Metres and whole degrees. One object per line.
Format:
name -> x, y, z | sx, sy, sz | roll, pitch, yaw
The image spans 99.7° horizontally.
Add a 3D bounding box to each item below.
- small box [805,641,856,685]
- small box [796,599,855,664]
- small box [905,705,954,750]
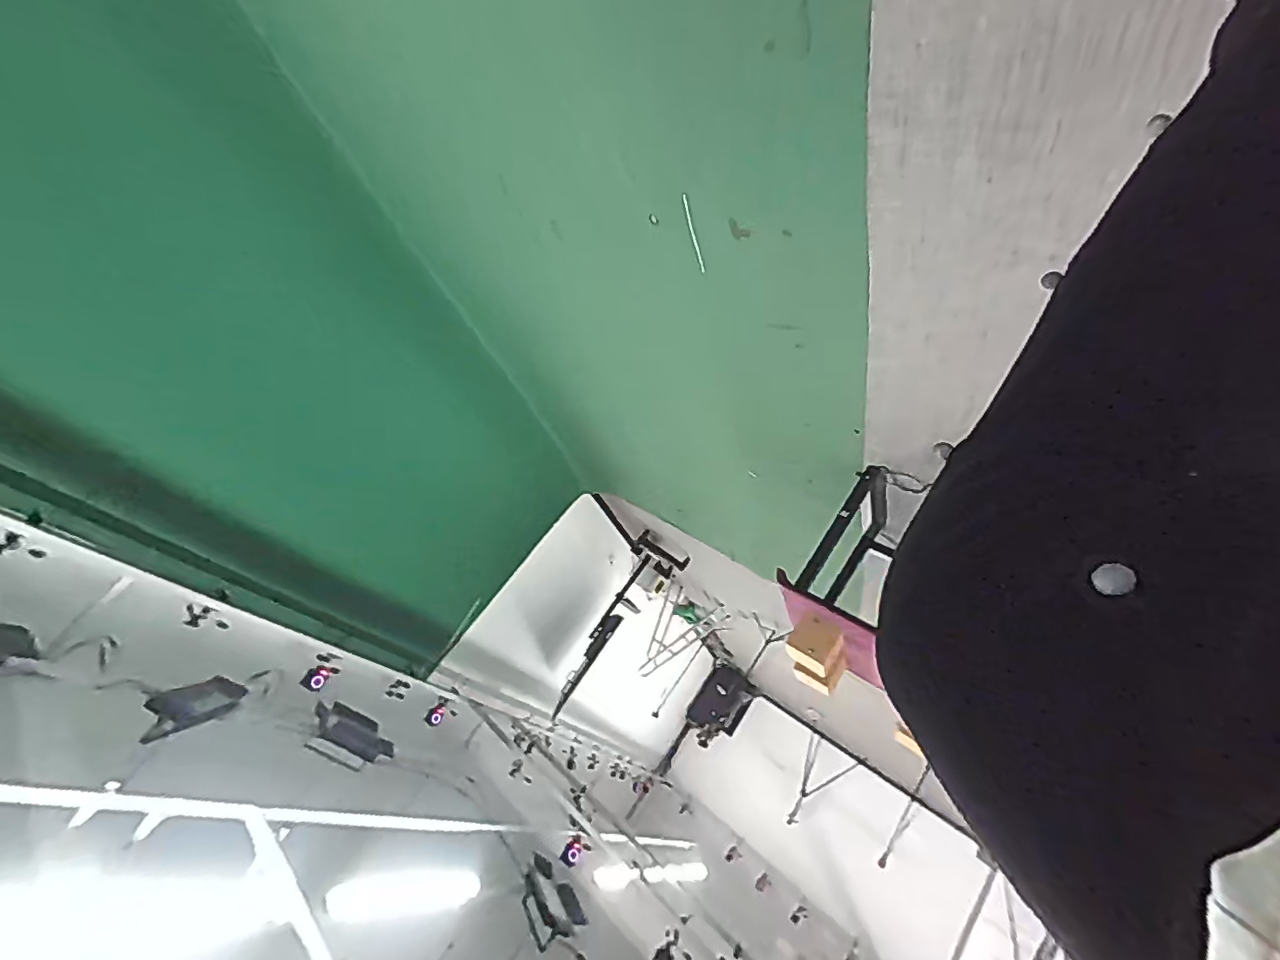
small box -> 0.877, 0.804, 2.474 | 0.168, 0.176, 0.179 | 24, 158, 35
small box -> 0.759, 0.614, 2.198 | 0.168, 0.176, 0.179 | 26, 161, 34
small box -> 1.210, 0.969, 2.210 | 0.168, 0.176, 0.179 | 29, 160, 34
